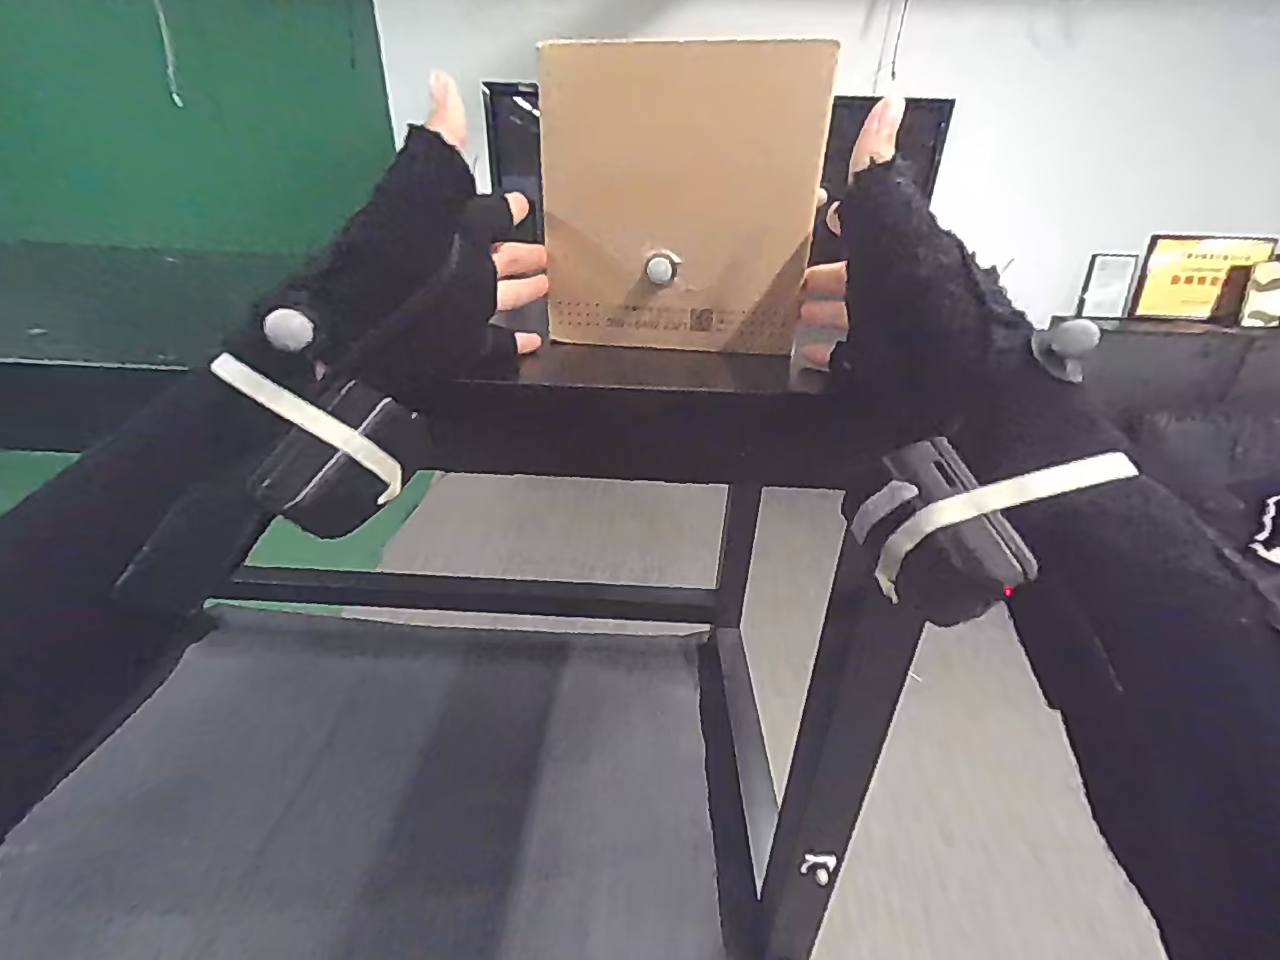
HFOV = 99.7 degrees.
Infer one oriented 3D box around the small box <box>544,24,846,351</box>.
[{"bbox_3d":[0.037,-0.201,0.394,0.168,0.176,0.179,6,28,8],"label":"small box"}]
